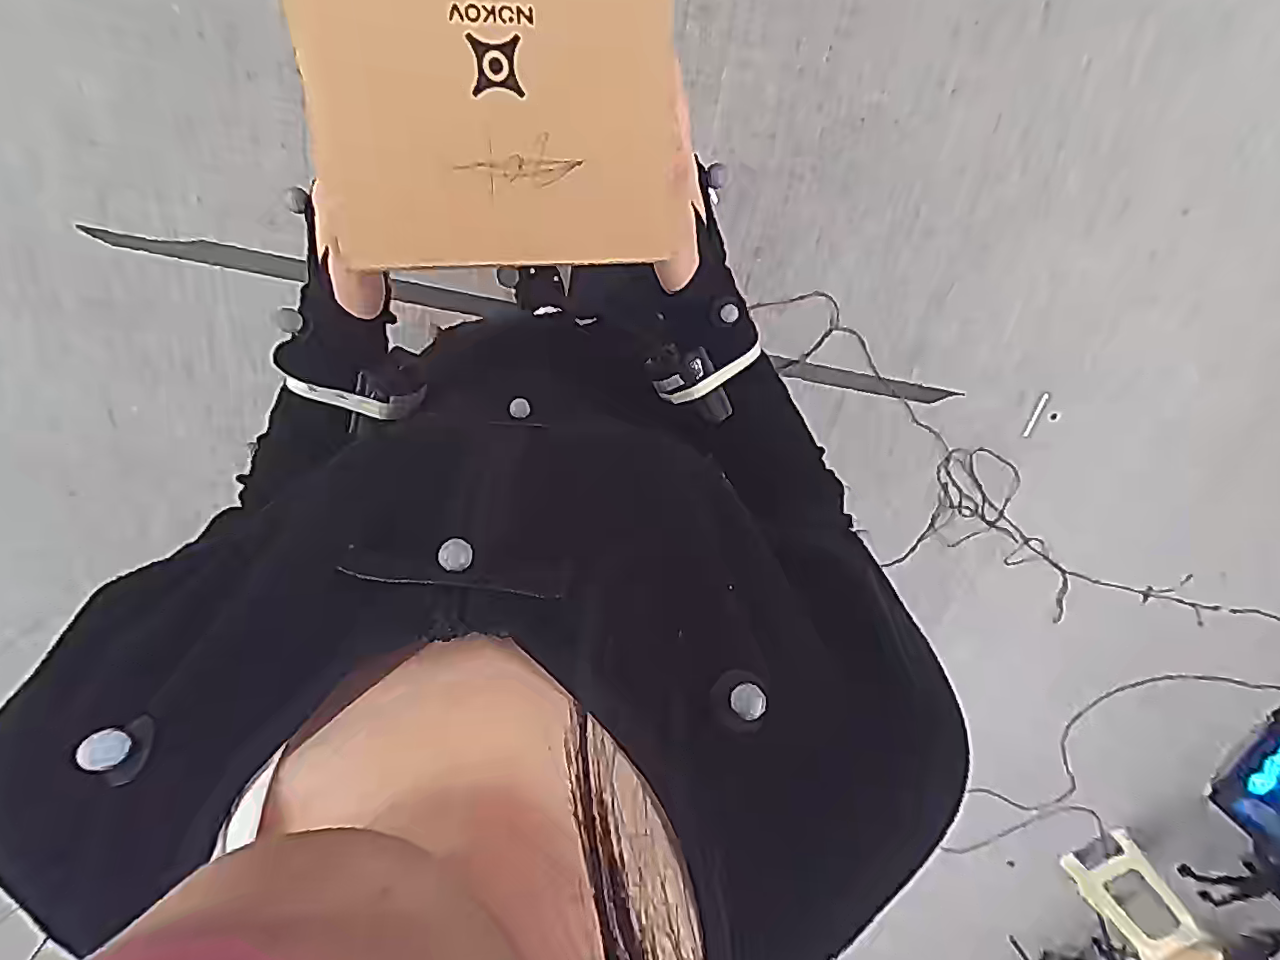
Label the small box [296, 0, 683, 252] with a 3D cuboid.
[{"bbox_3d":[-0.075,-0.227,0.310,0.168,0.176,0.179,-4,115,-8],"label":"small box"}]

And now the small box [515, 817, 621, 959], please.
[{"bbox_3d":[-0.138,0.762,1.011,0.168,0.176,0.179,7,114,-11],"label":"small box"}]
